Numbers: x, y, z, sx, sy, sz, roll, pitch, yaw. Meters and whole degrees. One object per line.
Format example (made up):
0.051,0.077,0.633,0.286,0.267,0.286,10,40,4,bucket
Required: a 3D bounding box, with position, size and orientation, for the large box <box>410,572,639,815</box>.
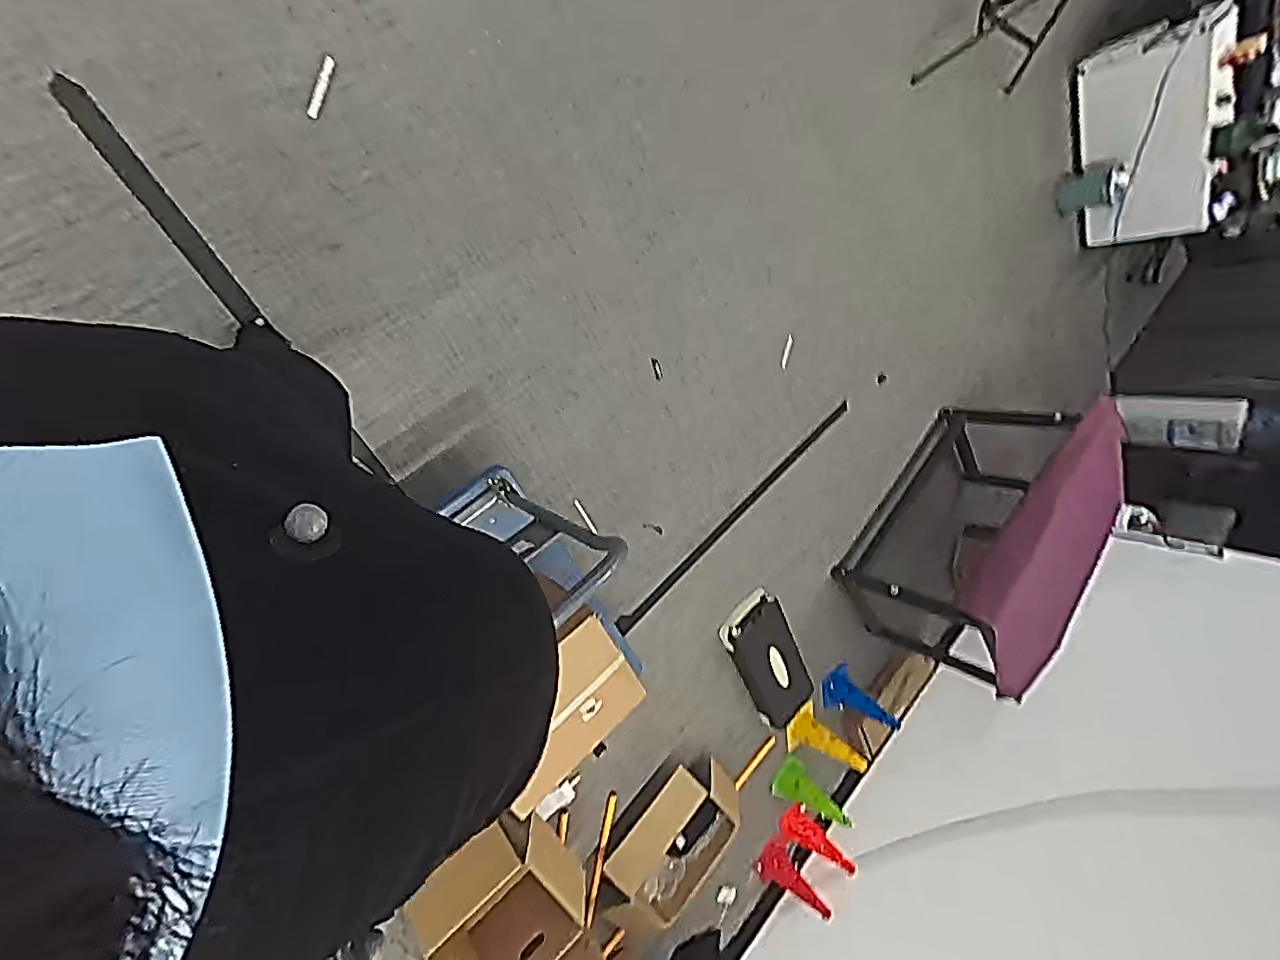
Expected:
-0.287,0.506,1.355,0.408,0.320,0.320,-39,120,-23,large box
